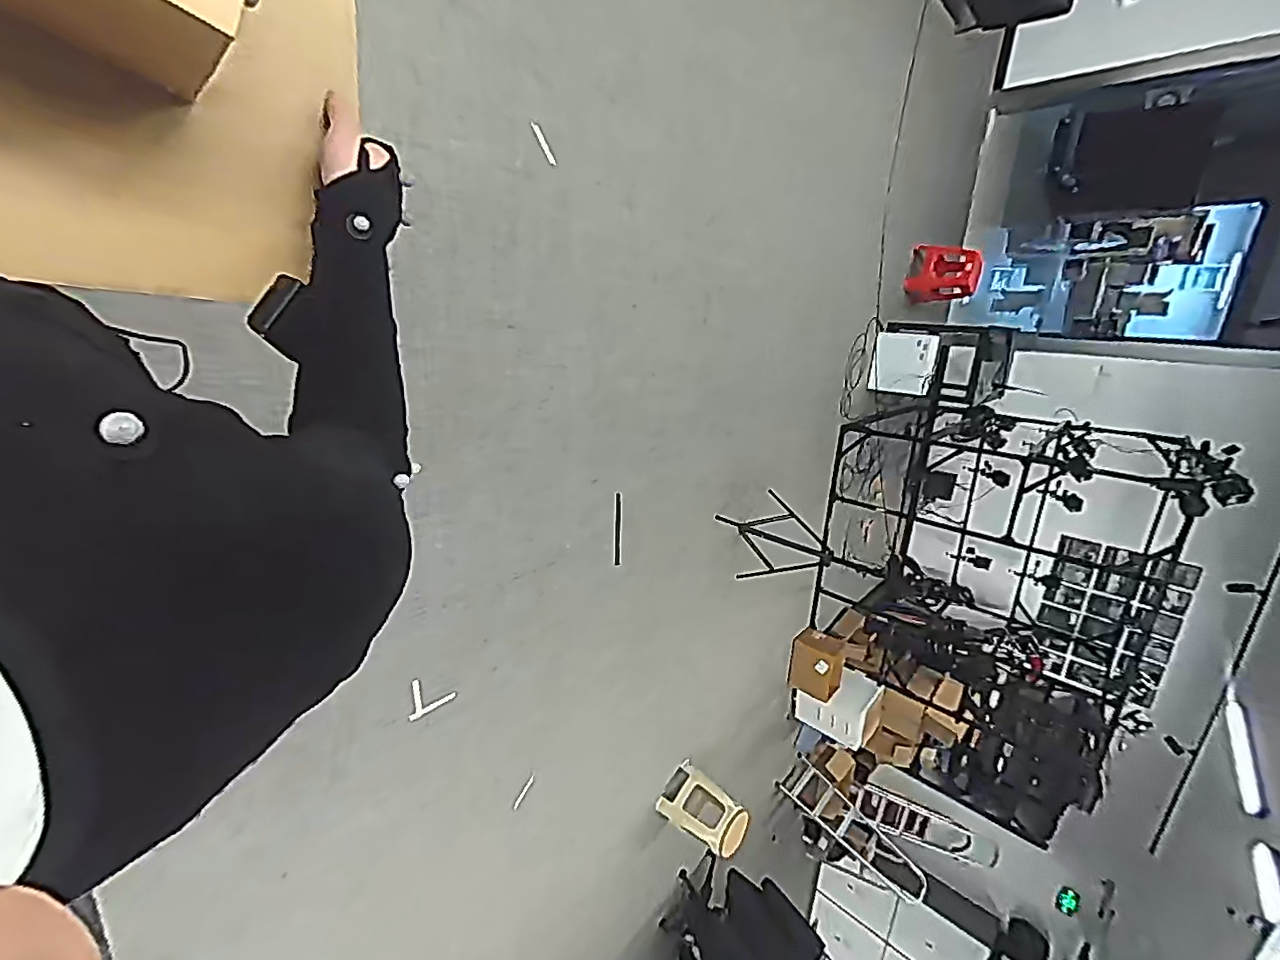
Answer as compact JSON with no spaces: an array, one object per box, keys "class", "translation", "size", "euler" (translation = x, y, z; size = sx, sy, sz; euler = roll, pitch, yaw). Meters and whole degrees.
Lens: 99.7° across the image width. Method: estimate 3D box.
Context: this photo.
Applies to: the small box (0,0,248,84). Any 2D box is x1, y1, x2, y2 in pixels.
[{"class":"small box","translation":[-0.343,-0.375,0.319],"size":[0.179,0.176,0.168],"euler":[8,98,-47]}]
